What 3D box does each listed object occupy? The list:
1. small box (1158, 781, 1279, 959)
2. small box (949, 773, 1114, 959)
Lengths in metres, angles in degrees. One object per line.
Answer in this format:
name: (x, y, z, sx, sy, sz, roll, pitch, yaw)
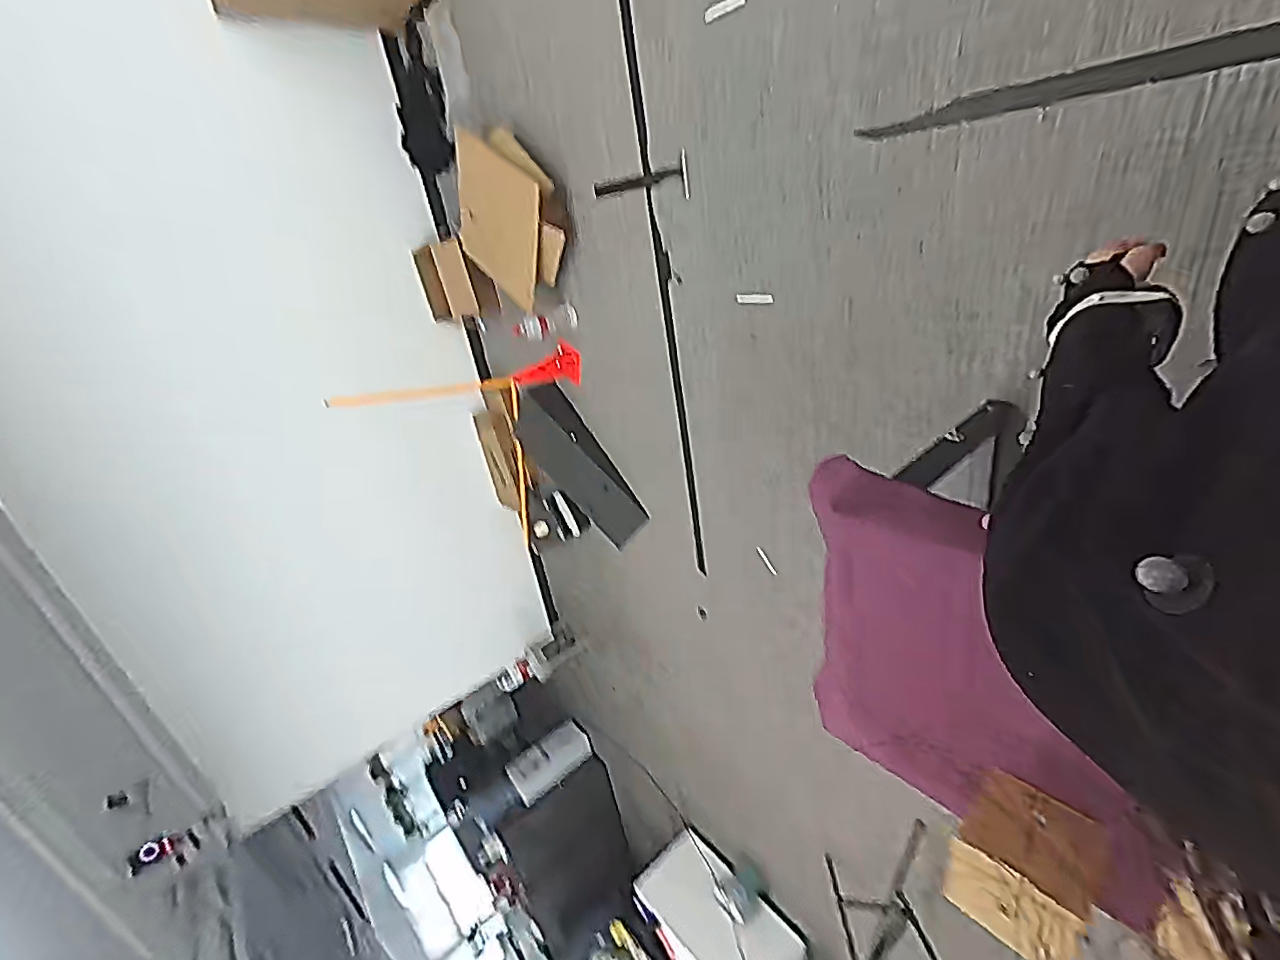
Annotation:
small box: (0.741, 0.496, 0.619, 0.168, 0.176, 0.179, 21, 130, 47)
small box: (0.626, 0.627, 0.871, 0.168, 0.176, 0.179, 19, 127, 47)
